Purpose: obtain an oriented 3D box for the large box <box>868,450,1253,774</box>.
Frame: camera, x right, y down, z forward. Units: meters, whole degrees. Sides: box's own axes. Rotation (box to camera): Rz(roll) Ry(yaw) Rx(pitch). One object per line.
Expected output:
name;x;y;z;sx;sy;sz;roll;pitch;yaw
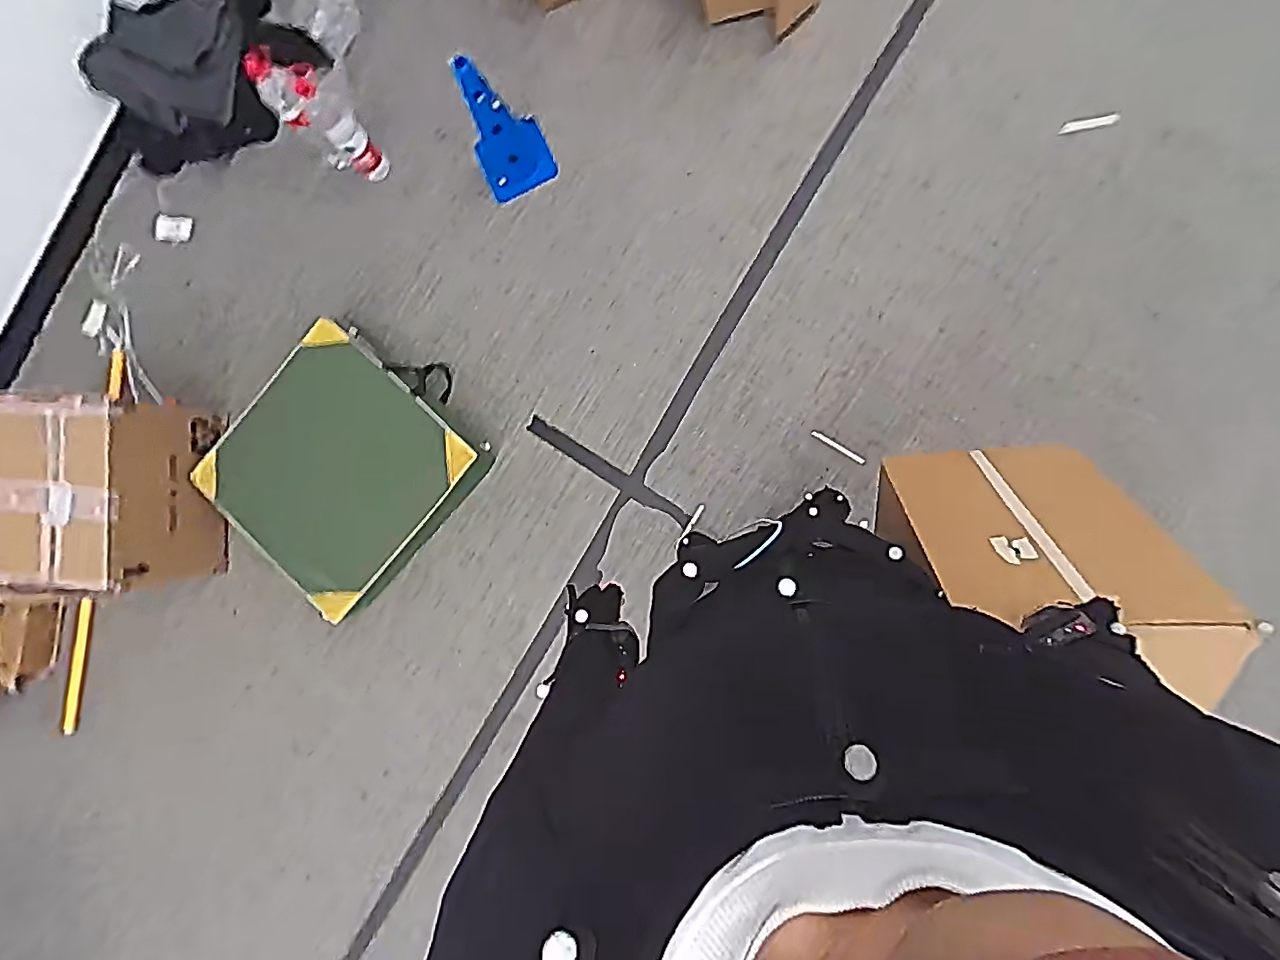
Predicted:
large box;0.582;0.190;0.872;0.320;0.408;0.320;-4;124;12
